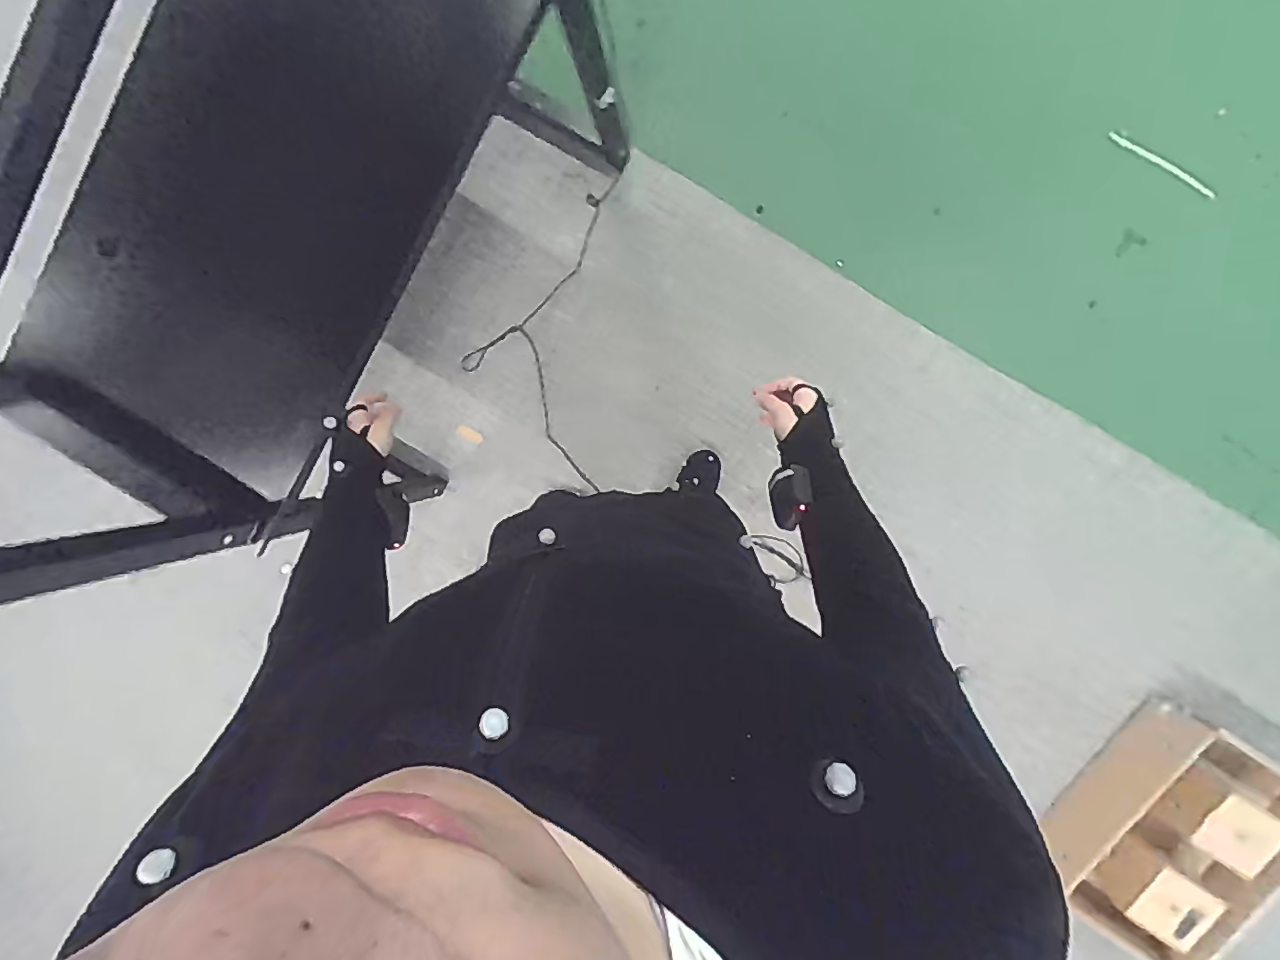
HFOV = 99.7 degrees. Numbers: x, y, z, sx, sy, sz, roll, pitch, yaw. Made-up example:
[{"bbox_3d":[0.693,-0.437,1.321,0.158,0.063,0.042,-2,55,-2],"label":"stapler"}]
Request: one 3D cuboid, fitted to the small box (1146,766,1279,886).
[{"bbox_3d":[1.503,0.888,1.411,0.179,0.176,0.168,32,99,3],"label":"small box"}]
